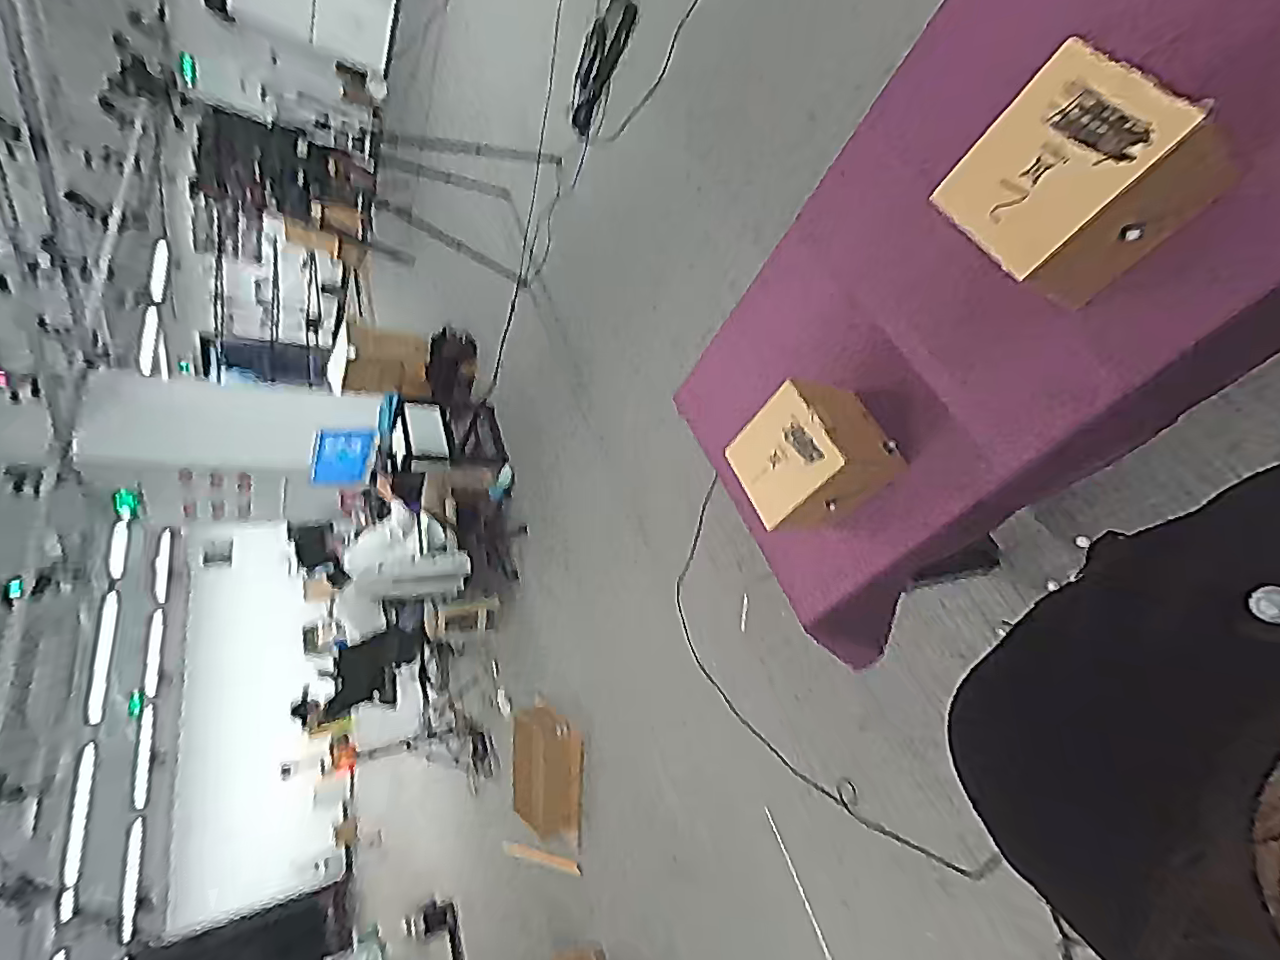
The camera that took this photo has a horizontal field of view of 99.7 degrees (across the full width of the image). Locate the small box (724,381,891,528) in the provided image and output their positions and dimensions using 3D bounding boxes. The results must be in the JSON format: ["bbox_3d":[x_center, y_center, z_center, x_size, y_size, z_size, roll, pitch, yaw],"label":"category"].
[{"bbox_3d":[0.278,-0.038,0.887,0.179,0.176,0.168,-53,49,39],"label":"small box"}]
